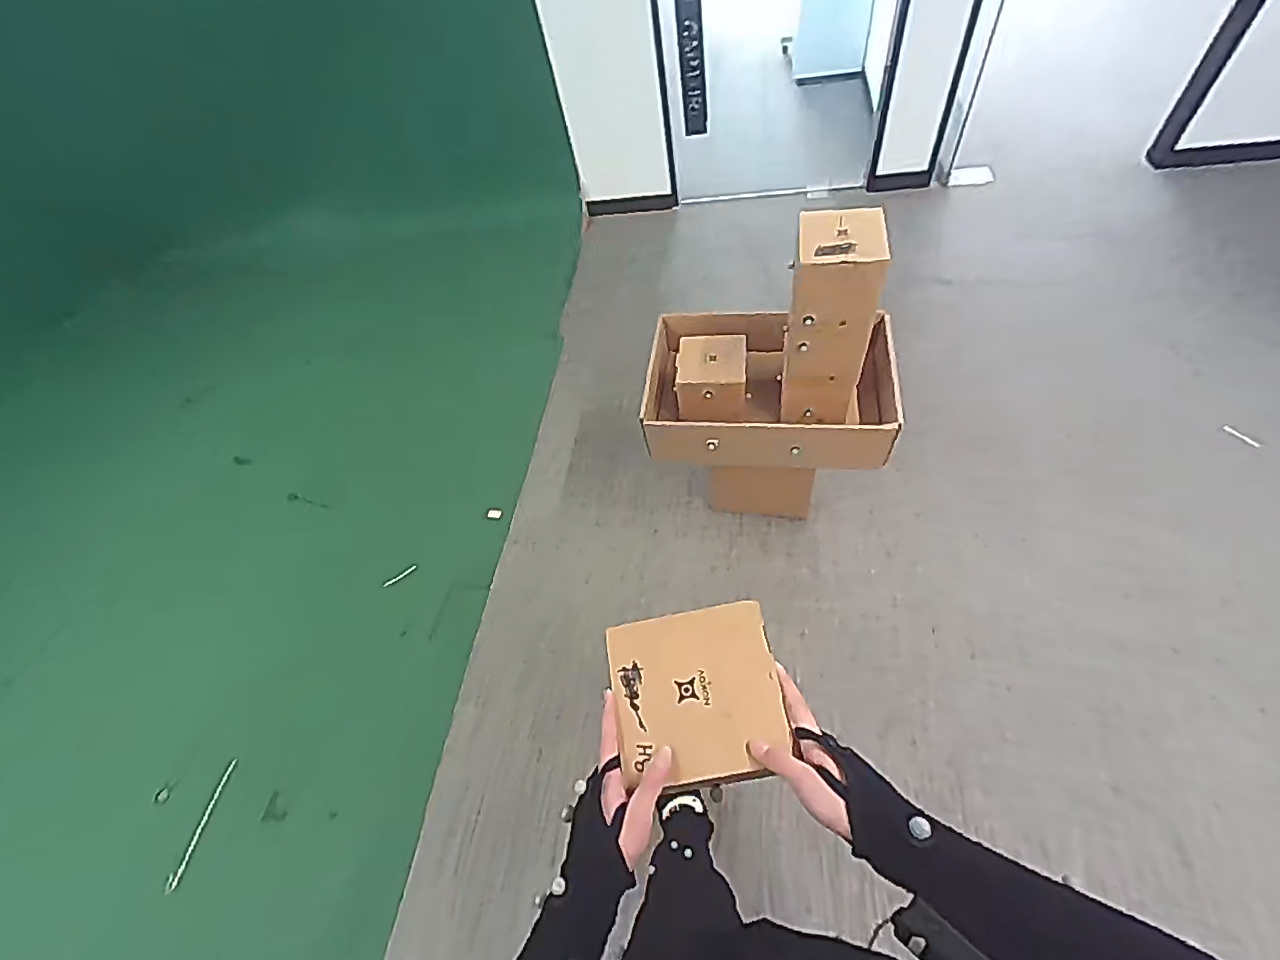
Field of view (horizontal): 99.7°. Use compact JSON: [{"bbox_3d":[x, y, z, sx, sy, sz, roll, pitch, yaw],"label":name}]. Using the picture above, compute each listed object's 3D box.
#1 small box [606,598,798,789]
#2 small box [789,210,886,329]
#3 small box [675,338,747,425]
[{"bbox_3d":[0.066,0.253,0.628,0.179,0.176,0.168,-11,57,2],"label":"small box"},{"bbox_3d":[0.405,-0.433,1.128,0.168,0.176,0.179,3,57,12],"label":"small box"},{"bbox_3d":[0.193,-0.262,1.452,0.179,0.176,0.168,3,58,10],"label":"small box"}]
